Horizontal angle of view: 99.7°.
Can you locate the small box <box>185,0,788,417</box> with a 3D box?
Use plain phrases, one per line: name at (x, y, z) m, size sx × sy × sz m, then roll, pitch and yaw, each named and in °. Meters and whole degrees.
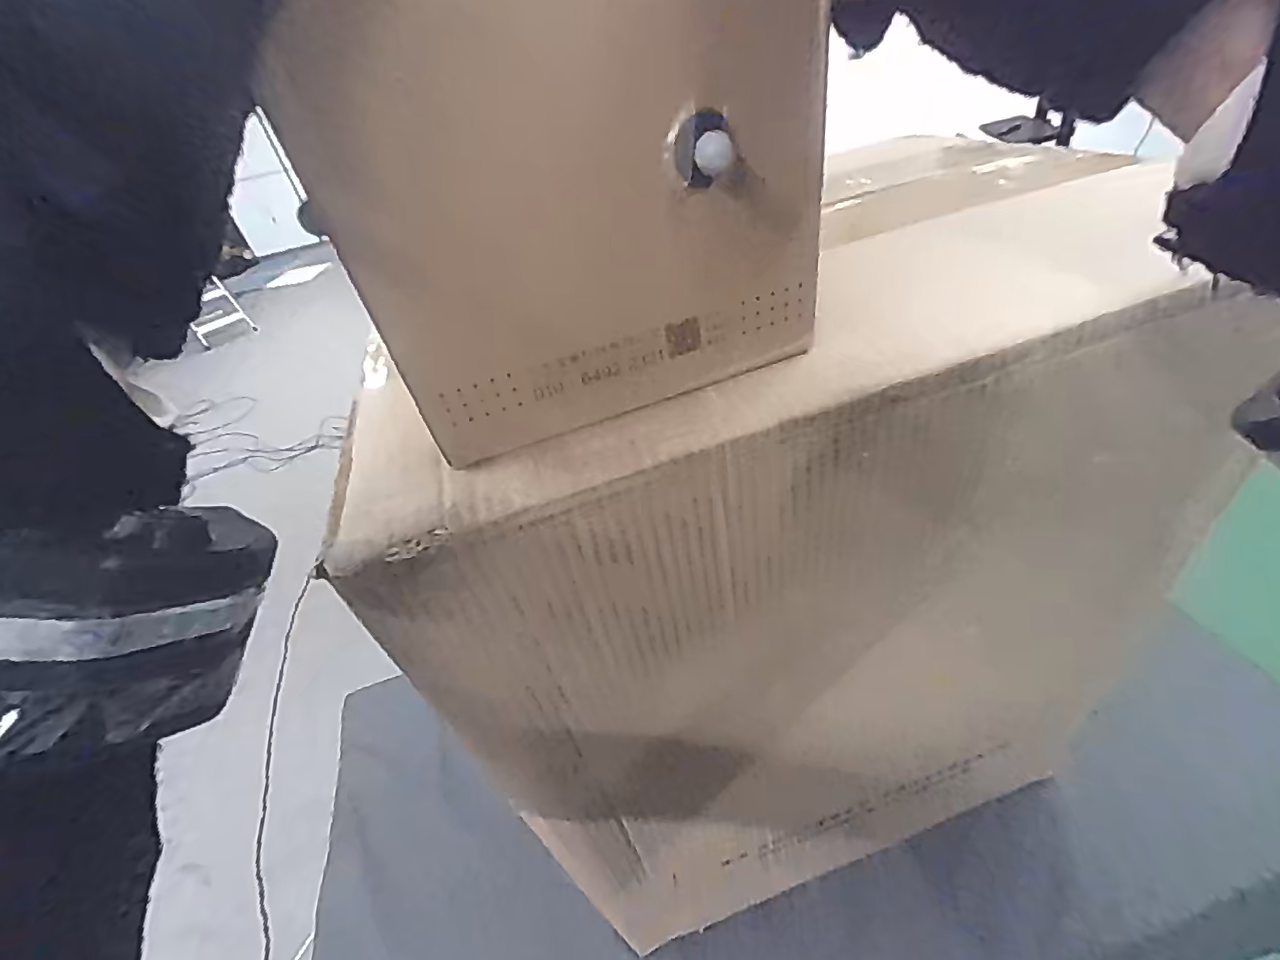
small box at (-0.048, -0.147, 0.234) m, size 0.168 × 0.176 × 0.179 m, roll -23°, pitch 44°, yaw -10°
